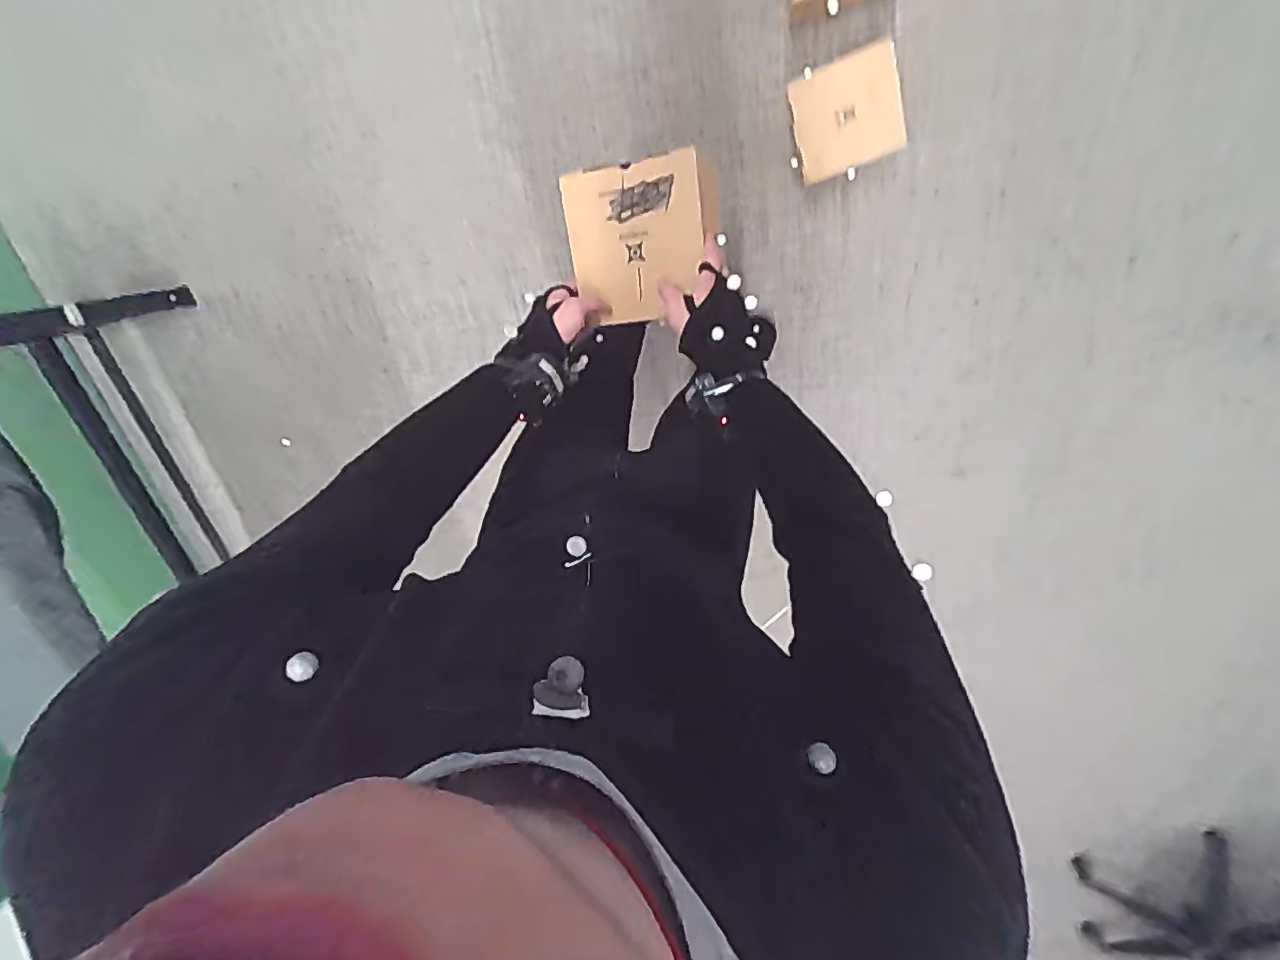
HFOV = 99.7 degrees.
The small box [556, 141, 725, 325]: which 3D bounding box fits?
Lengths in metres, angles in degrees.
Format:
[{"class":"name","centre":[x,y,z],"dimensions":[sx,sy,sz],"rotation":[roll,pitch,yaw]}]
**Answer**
[{"class":"small box","centre":[0.013,-0.302,0.689],"dimensions":[0.168,0.176,0.179],"rotation":[-1,111,18]}]

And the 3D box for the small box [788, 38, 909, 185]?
[{"class":"small box","centre":[0.376,-0.659,0.995],"dimensions":[0.179,0.176,0.168],"rotation":[-13,113,19]}]

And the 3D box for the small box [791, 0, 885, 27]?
[{"class":"small box","centre":[0.336,-0.890,0.890],"dimensions":[0.179,0.176,0.168],"rotation":[-4,114,18]}]
